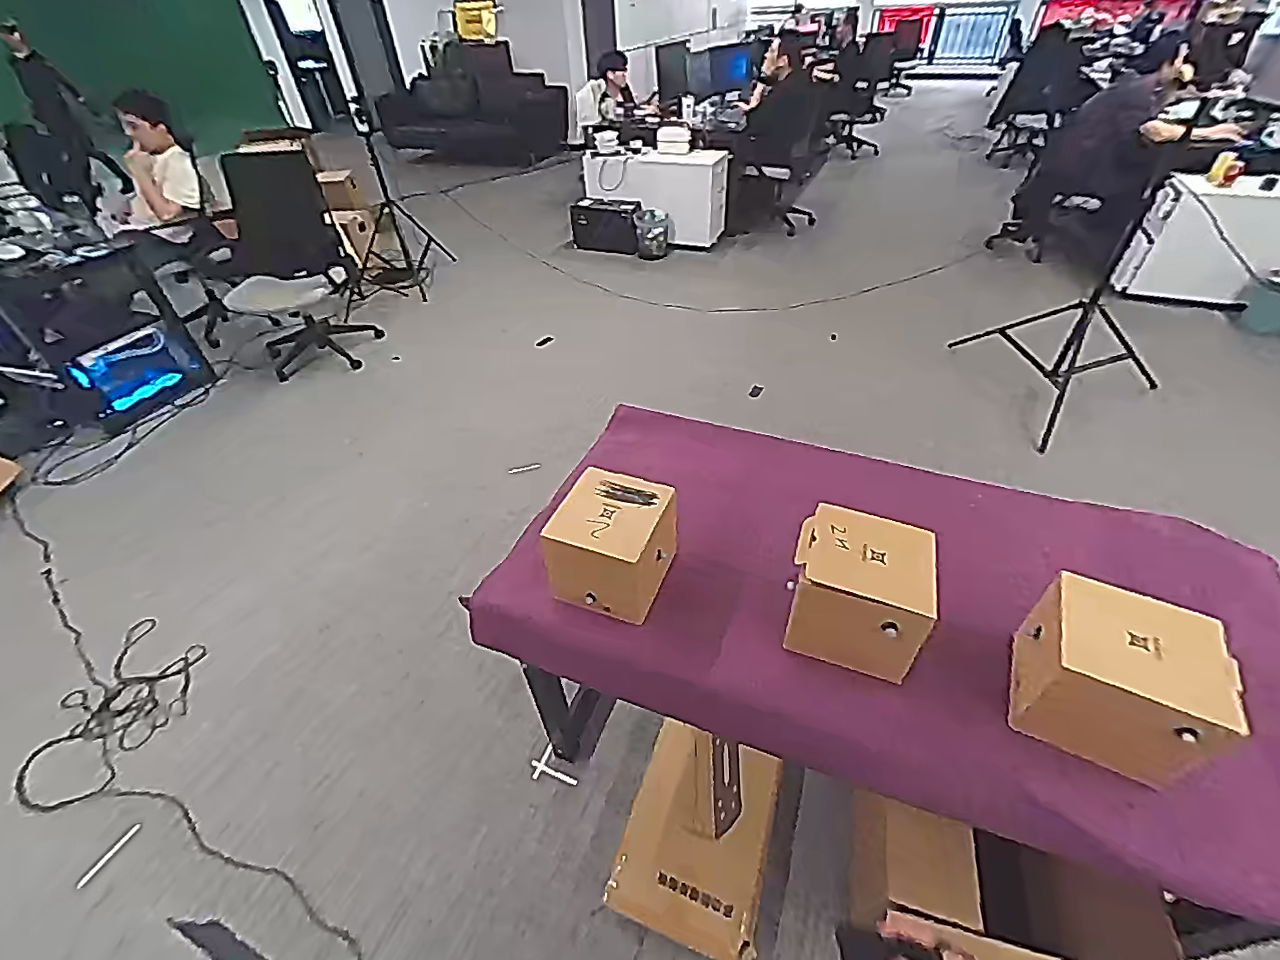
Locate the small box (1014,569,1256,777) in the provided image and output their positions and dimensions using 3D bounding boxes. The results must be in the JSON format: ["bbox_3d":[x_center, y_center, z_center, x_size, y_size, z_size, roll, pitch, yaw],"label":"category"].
[{"bbox_3d":[0.624,0.254,0.713,0.179,0.176,0.168,19,47,22],"label":"small box"}]

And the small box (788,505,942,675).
[{"bbox_3d":[0.338,0.168,0.824,0.179,0.176,0.168,13,42,18],"label":"small box"}]
